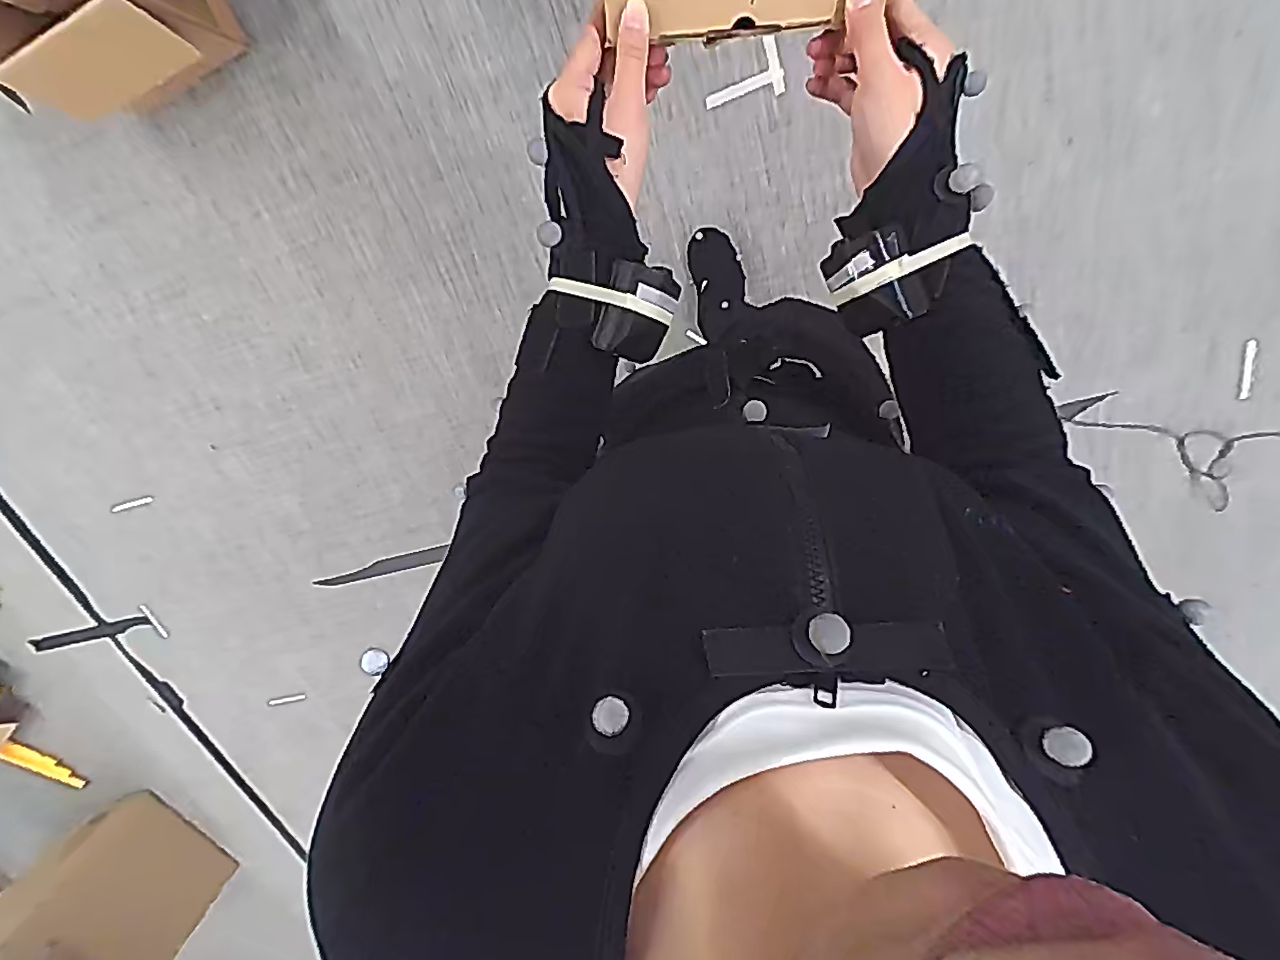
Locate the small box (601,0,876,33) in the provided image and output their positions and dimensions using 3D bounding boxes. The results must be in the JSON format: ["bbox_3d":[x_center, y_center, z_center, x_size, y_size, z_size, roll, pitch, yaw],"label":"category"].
[{"bbox_3d":[0.058,-0.392,0.331,0.168,0.176,0.179,-2,128,4],"label":"small box"}]
